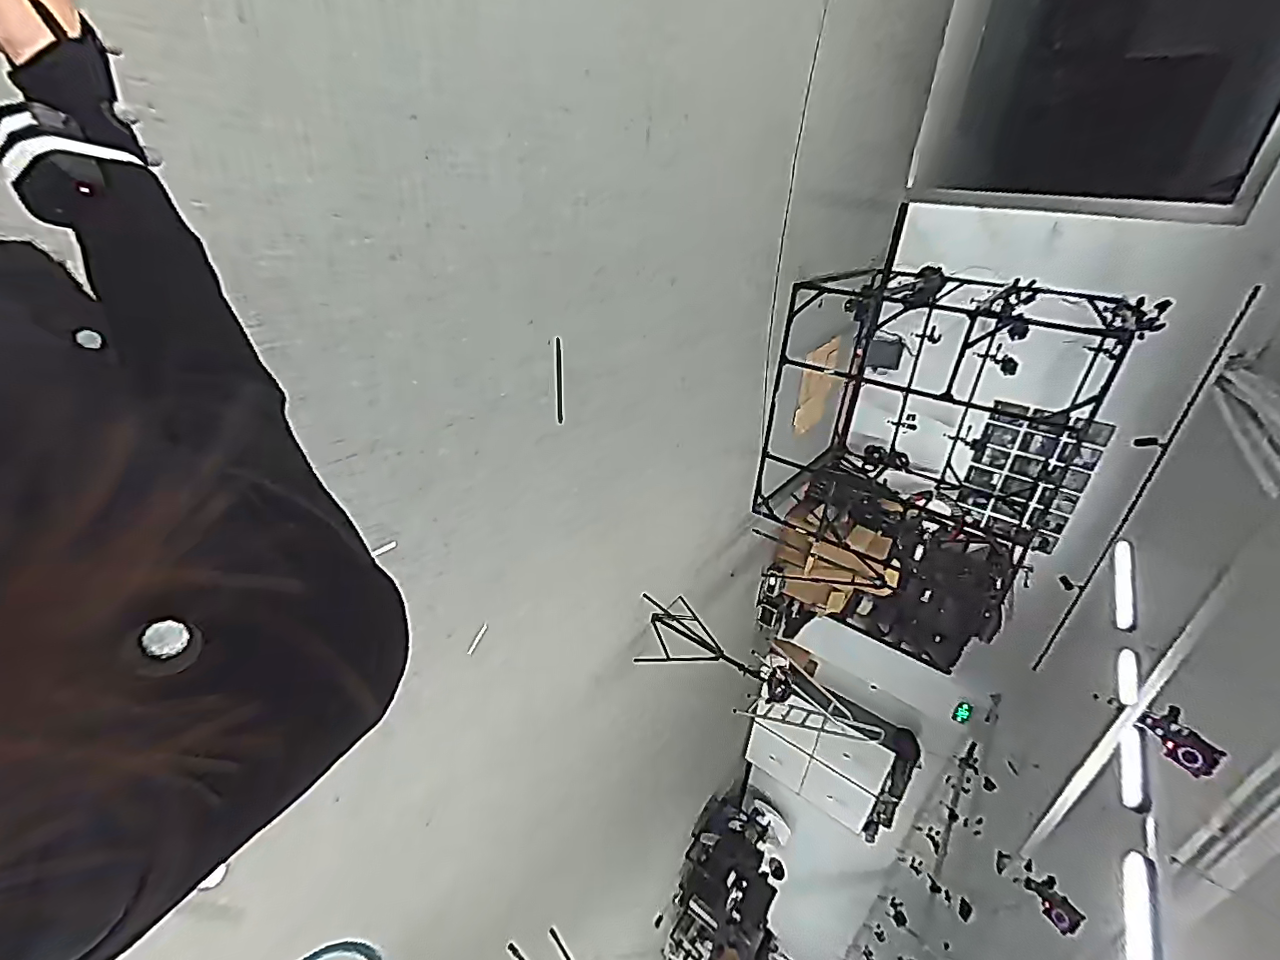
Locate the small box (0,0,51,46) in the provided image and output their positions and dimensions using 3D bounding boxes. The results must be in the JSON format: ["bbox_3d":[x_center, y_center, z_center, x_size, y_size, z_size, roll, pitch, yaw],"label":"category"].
[{"bbox_3d":[-0.556,-0.446,0.373,0.168,0.176,0.179,-6,110,-66],"label":"small box"}]
